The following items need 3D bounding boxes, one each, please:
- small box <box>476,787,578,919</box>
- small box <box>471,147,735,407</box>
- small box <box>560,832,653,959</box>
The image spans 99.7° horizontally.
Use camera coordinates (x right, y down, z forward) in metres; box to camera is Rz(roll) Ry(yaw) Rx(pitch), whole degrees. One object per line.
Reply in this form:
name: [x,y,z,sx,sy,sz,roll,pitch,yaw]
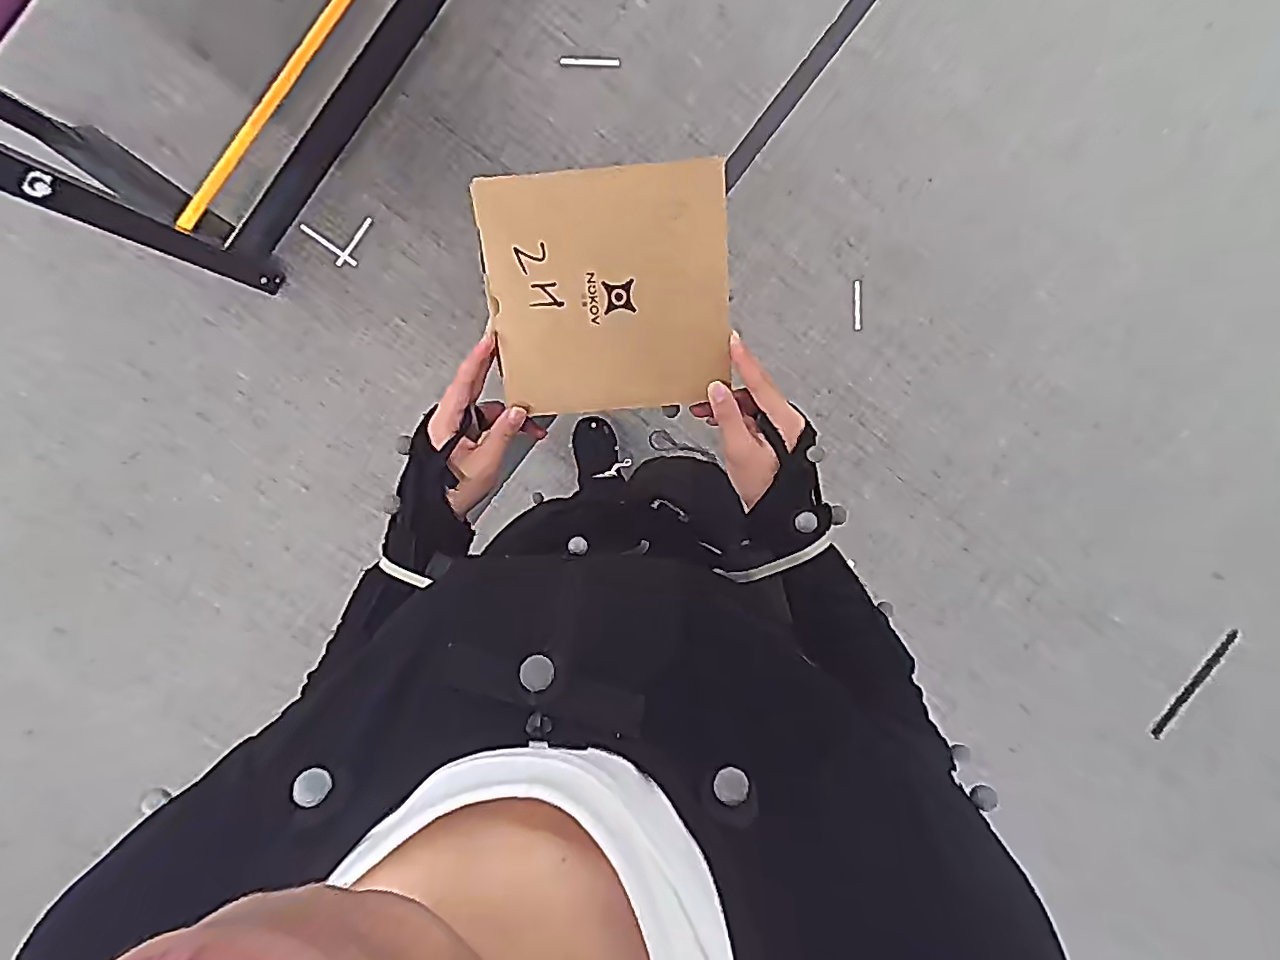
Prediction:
small box: [-0.269,0.914,1.343,0.179,0.176,0.168,43,92,-5]
small box: [-0.020,-0.161,0.455,0.179,0.176,0.168,-4,107,3]
small box: [-0.083,1.053,1.369,0.168,0.176,0.179,30,93,-5]
